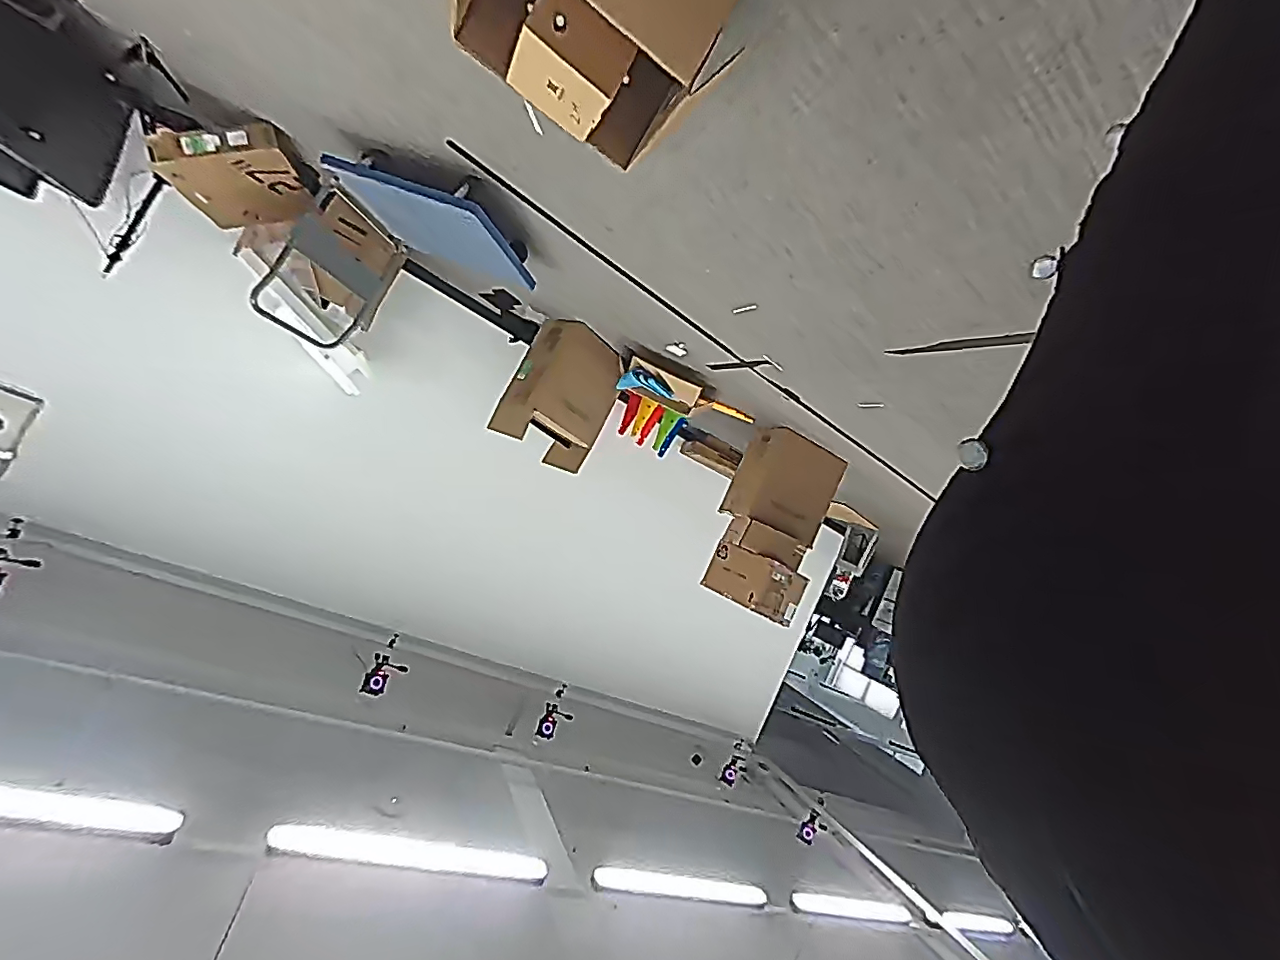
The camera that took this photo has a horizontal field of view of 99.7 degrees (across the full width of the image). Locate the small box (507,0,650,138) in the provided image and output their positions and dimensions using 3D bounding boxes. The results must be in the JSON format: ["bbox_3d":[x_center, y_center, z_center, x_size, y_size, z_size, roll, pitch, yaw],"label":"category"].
[{"bbox_3d":[-0.114,-0.784,0.982,0.179,0.176,0.168,28,176,-24],"label":"small box"}]
